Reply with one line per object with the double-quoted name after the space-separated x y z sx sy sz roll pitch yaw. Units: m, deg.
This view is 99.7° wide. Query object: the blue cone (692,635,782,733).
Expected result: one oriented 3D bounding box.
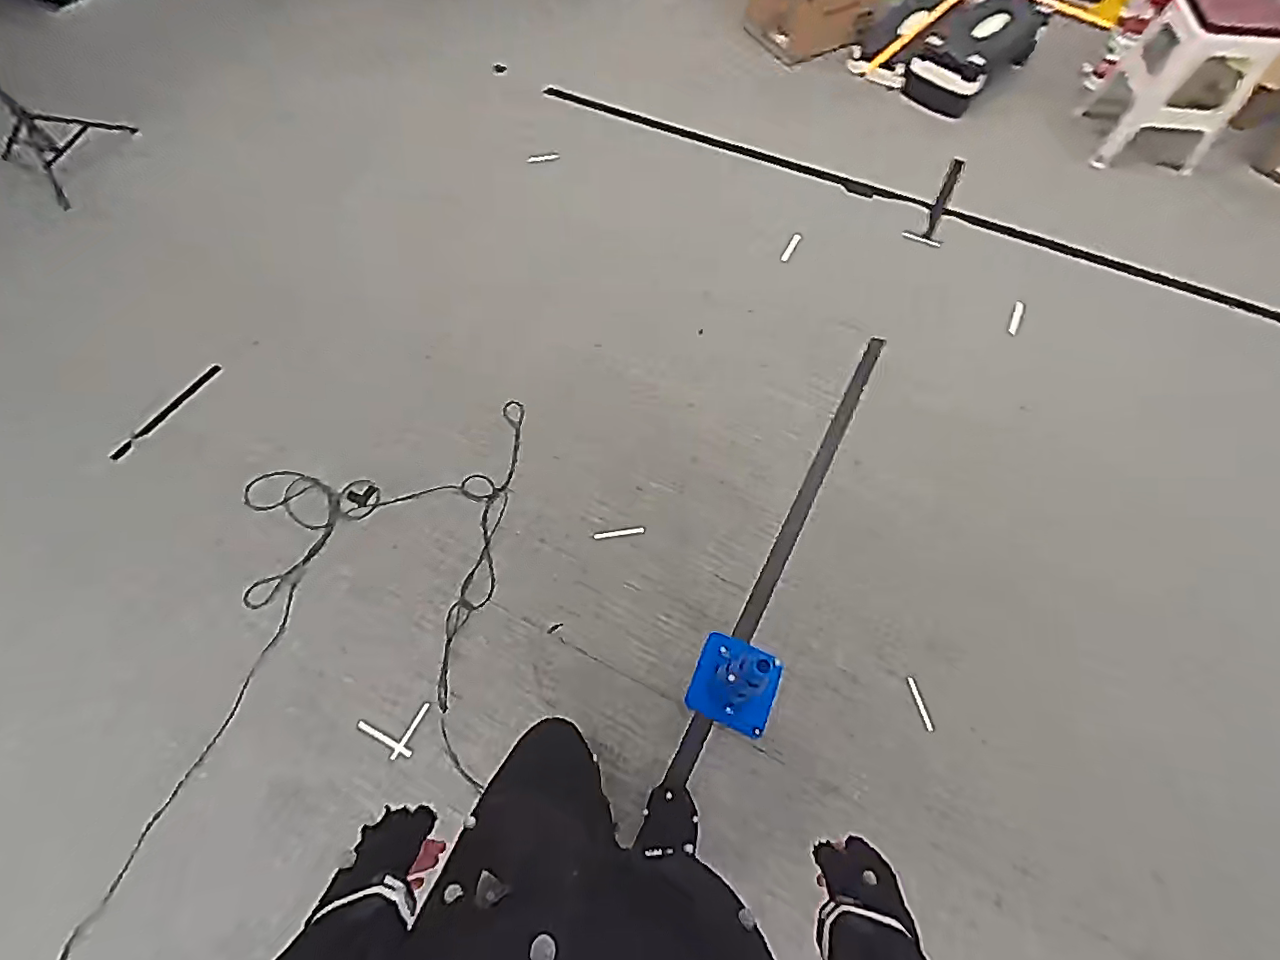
0.238 0.428 1.182 0.192 0.380 0.193 24 67 10 "blue cone"
